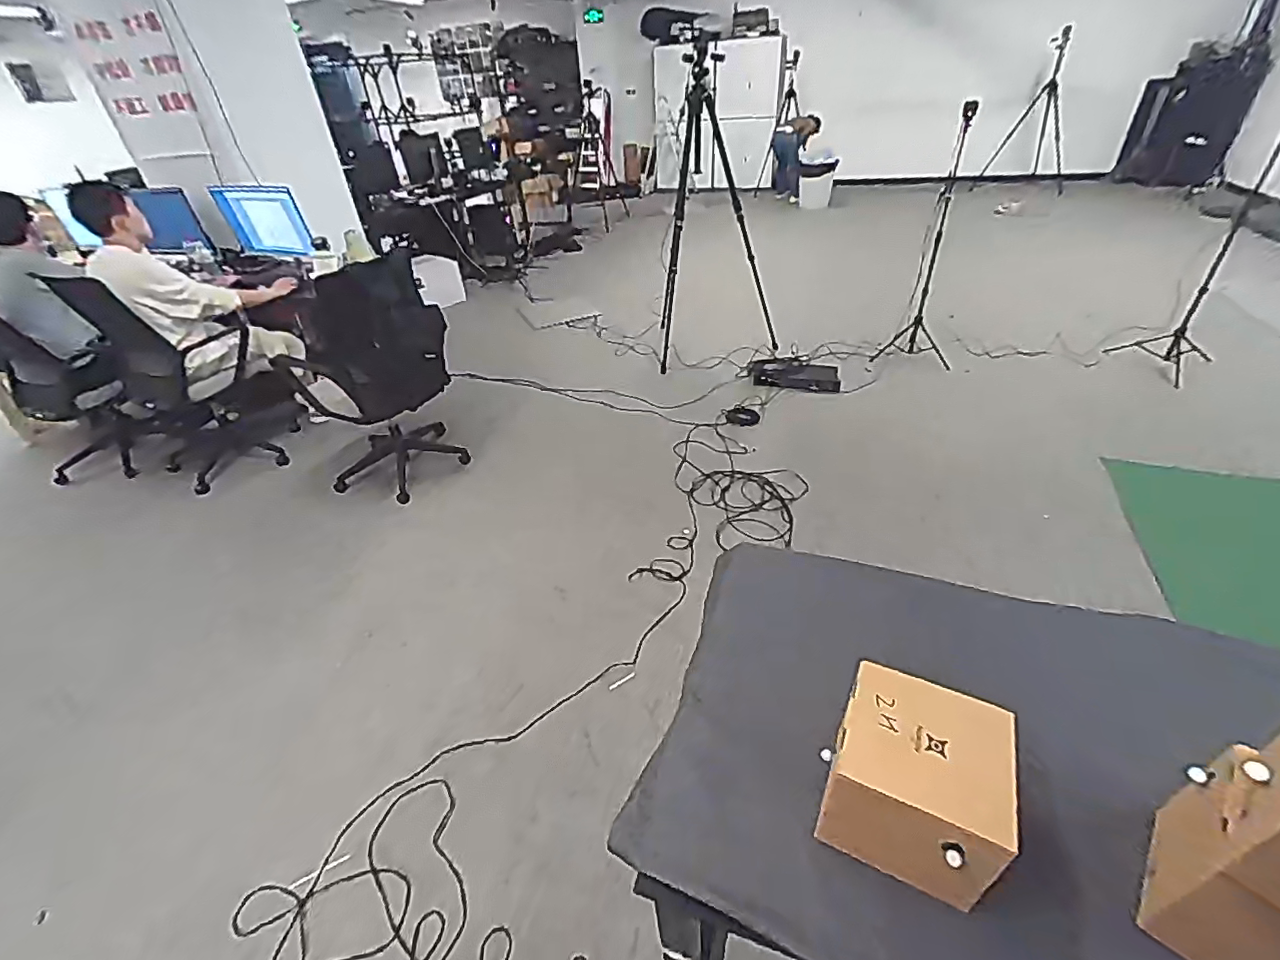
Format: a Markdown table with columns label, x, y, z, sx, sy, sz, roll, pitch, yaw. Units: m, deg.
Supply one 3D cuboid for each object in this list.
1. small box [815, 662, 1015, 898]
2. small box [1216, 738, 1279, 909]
| label | x | y | z | sx | sy | sz | roll | pitch | yaw |
| --- | --- | --- | --- | --- | --- | --- | --- | --- | --- |
| small box | 0.328 | 0.365 | 0.661 | 0.179 | 0.176 | 0.168 | 14 | 39 | 25 |
| small box | 0.643 | 0.298 | 0.437 | 0.168 | 0.176 | 0.179 | -27 | 41 | -29 |
